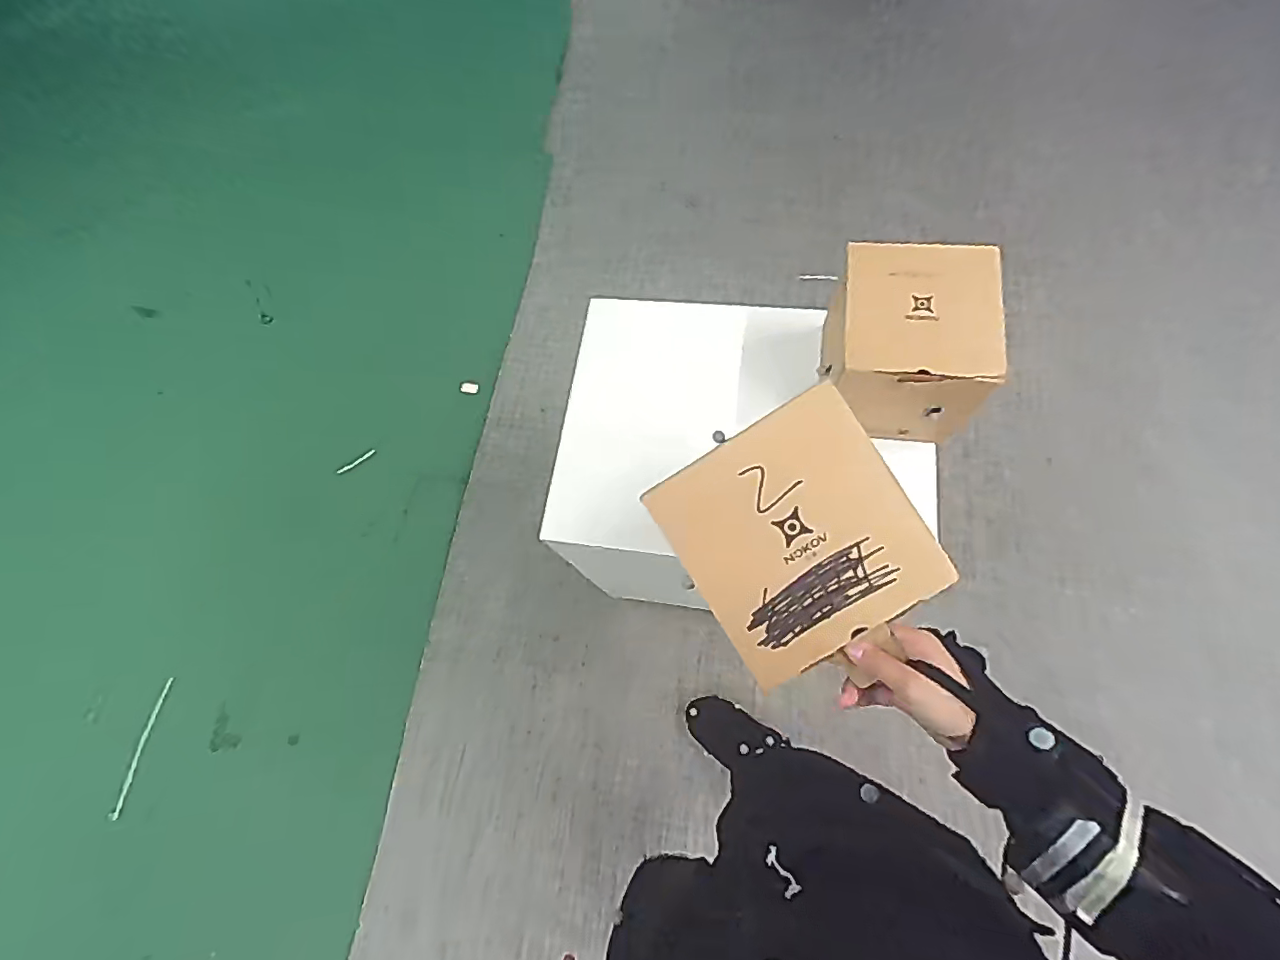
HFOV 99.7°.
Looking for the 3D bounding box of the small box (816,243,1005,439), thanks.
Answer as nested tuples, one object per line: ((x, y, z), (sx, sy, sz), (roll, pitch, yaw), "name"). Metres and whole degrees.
((0.320, -0.164, 0.672), (0.168, 0.176, 0.179), (6, 70, 9), "small box")
